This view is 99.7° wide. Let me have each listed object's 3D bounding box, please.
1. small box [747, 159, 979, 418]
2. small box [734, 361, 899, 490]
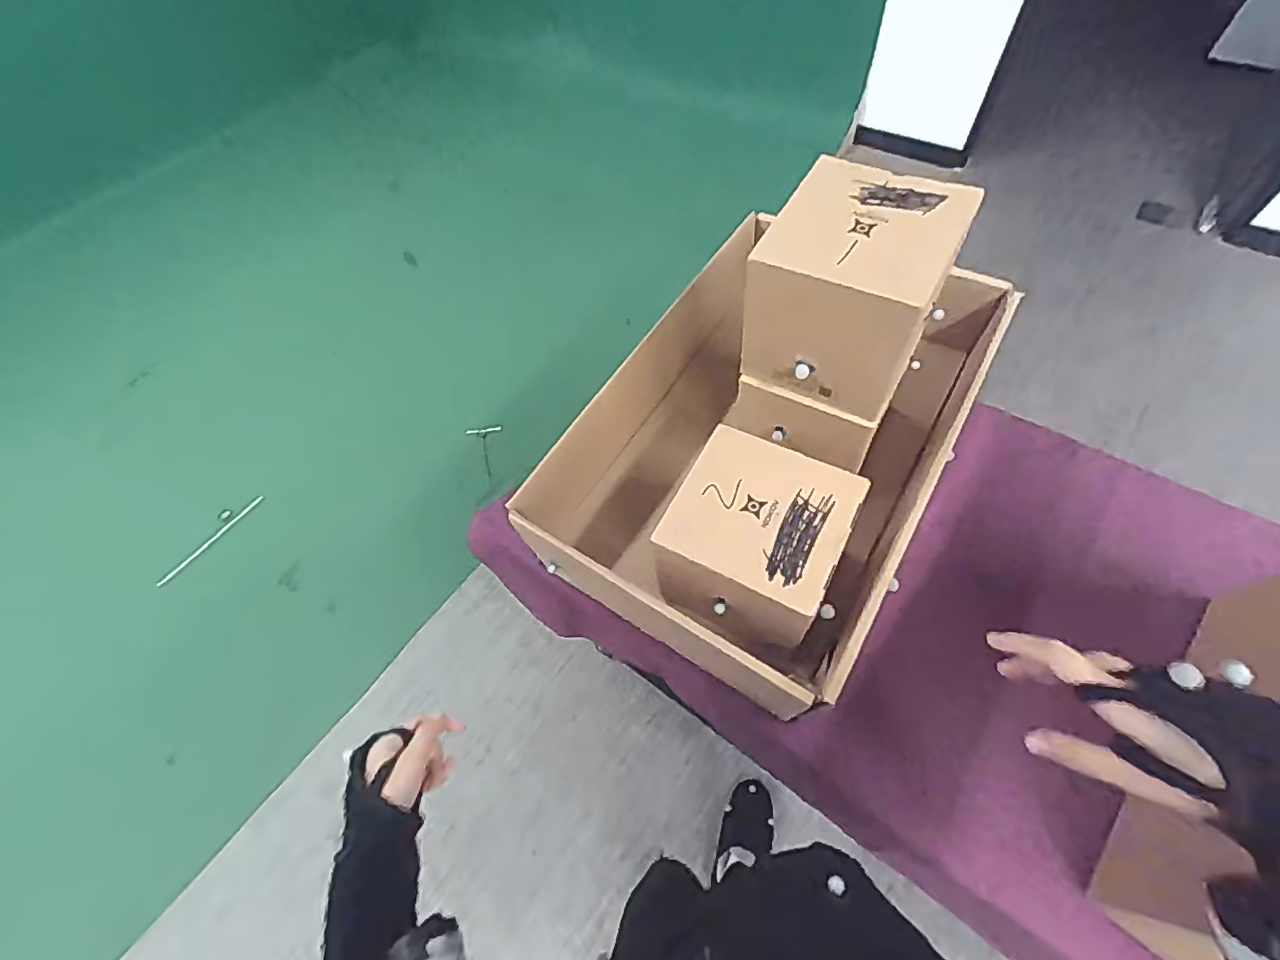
[{"bbox_3d":[0.222,-0.201,0.582,0.168,0.176,0.179,26,68,21],"label":"small box"},{"bbox_3d":[0.238,-0.114,0.721,0.168,0.176,0.179,25,66,21],"label":"small box"}]
